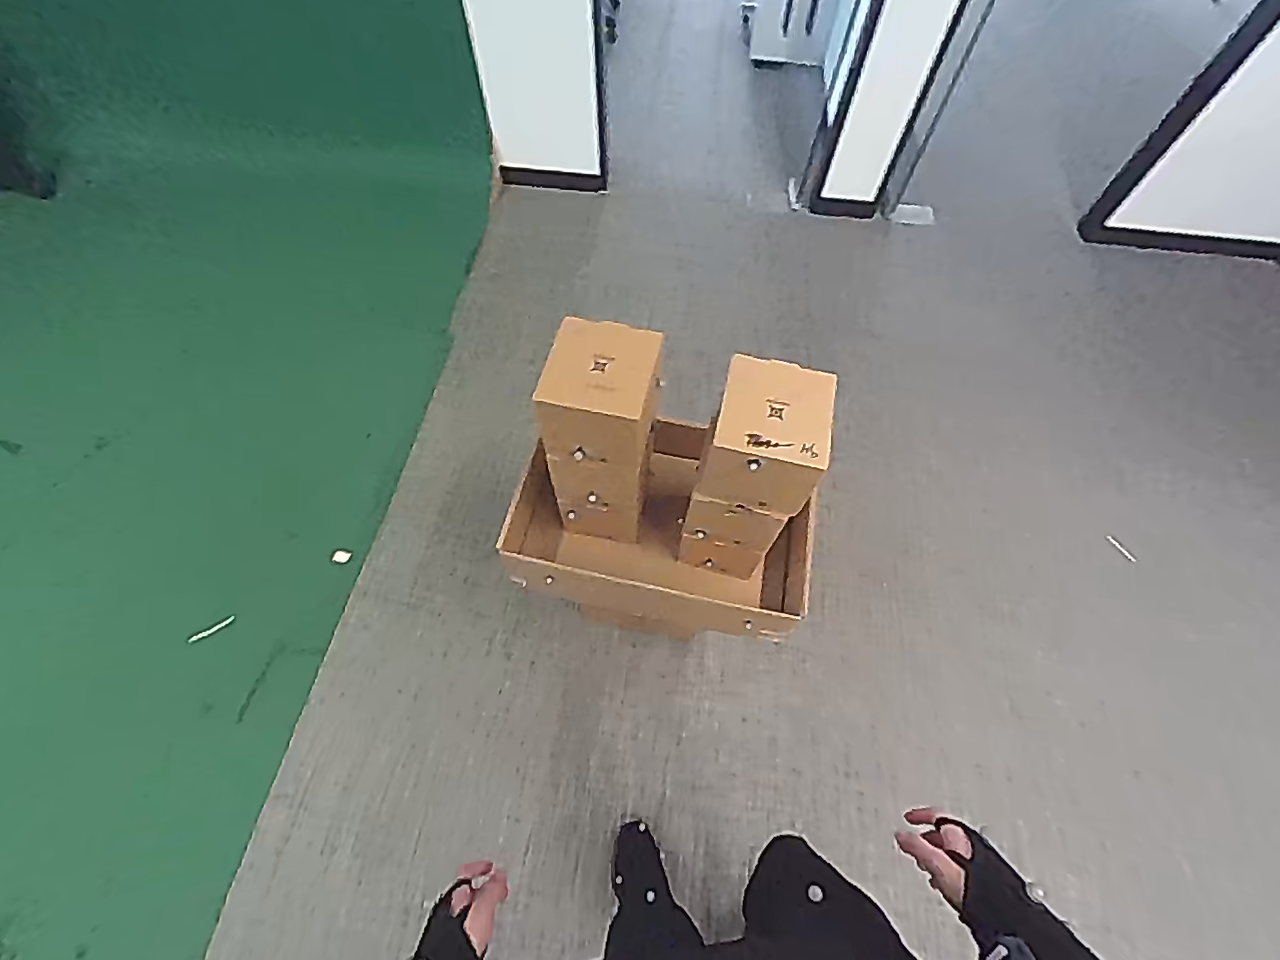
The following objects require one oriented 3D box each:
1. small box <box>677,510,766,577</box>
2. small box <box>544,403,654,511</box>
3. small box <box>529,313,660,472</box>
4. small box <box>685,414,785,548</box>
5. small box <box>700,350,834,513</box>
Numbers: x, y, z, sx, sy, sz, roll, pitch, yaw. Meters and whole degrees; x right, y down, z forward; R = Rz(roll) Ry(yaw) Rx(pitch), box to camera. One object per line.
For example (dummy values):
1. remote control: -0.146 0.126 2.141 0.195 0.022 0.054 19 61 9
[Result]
1. small box: 0.178 0.085 1.150 0.168 0.176 0.179 12 63 5
2. small box: -0.072 -0.063 1.036 0.168 0.176 0.179 11 62 5
3. small box: -0.068 -0.140 0.892 0.168 0.176 0.179 11 62 6
4. small box: 0.181 0.008 1.005 0.168 0.176 0.179 13 62 6
5. small box: 0.196 -0.072 0.862 0.168 0.176 0.179 13 62 6
